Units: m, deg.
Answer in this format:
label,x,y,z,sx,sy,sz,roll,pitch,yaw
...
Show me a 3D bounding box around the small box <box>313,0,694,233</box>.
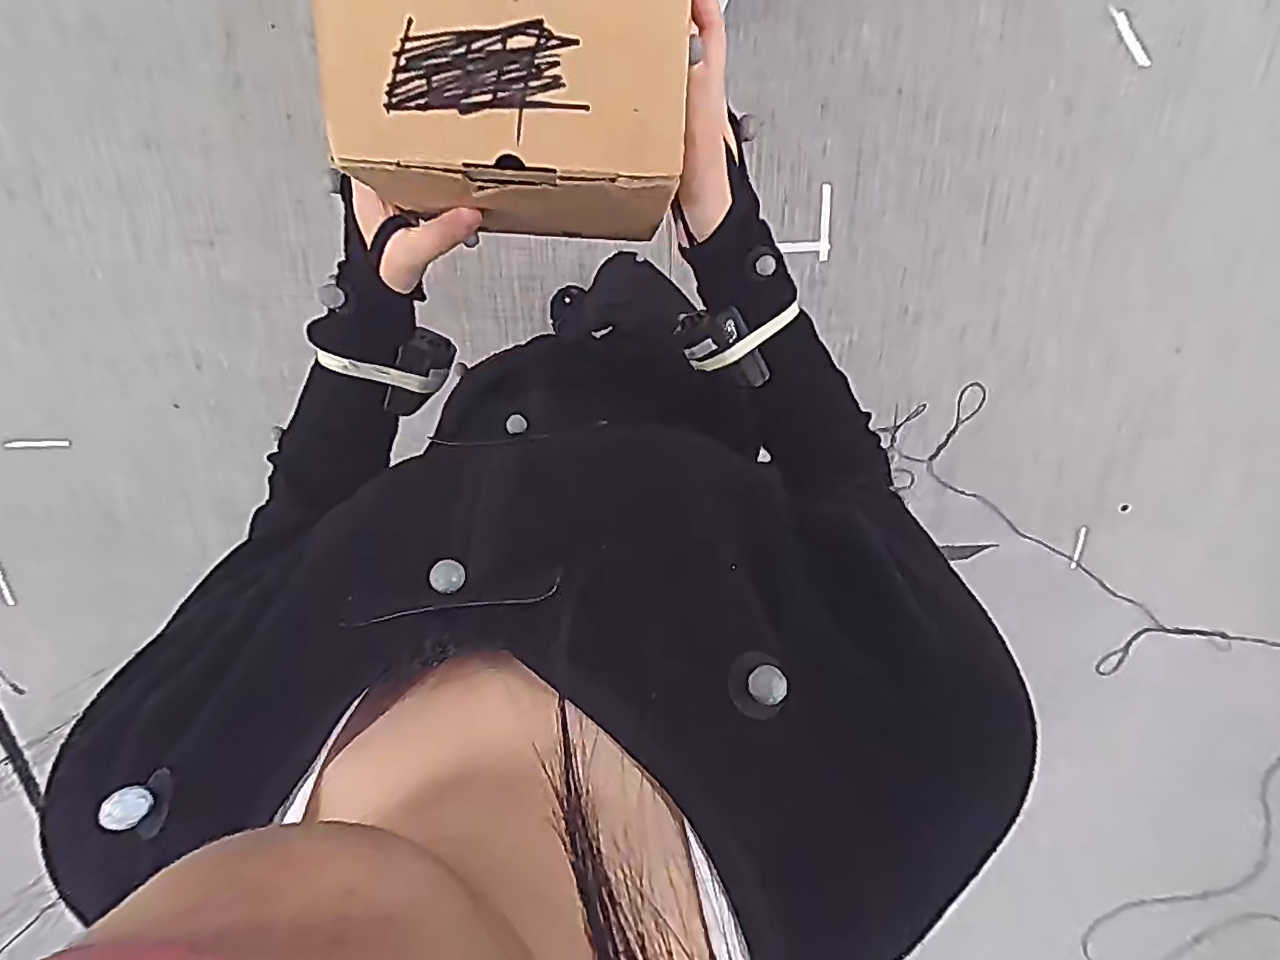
label,x,y,z,sx,sy,sz,roll,pitch,yaw
small box,-0.060,-0.248,0.305,0.168,0.176,0.179,2,104,-4
